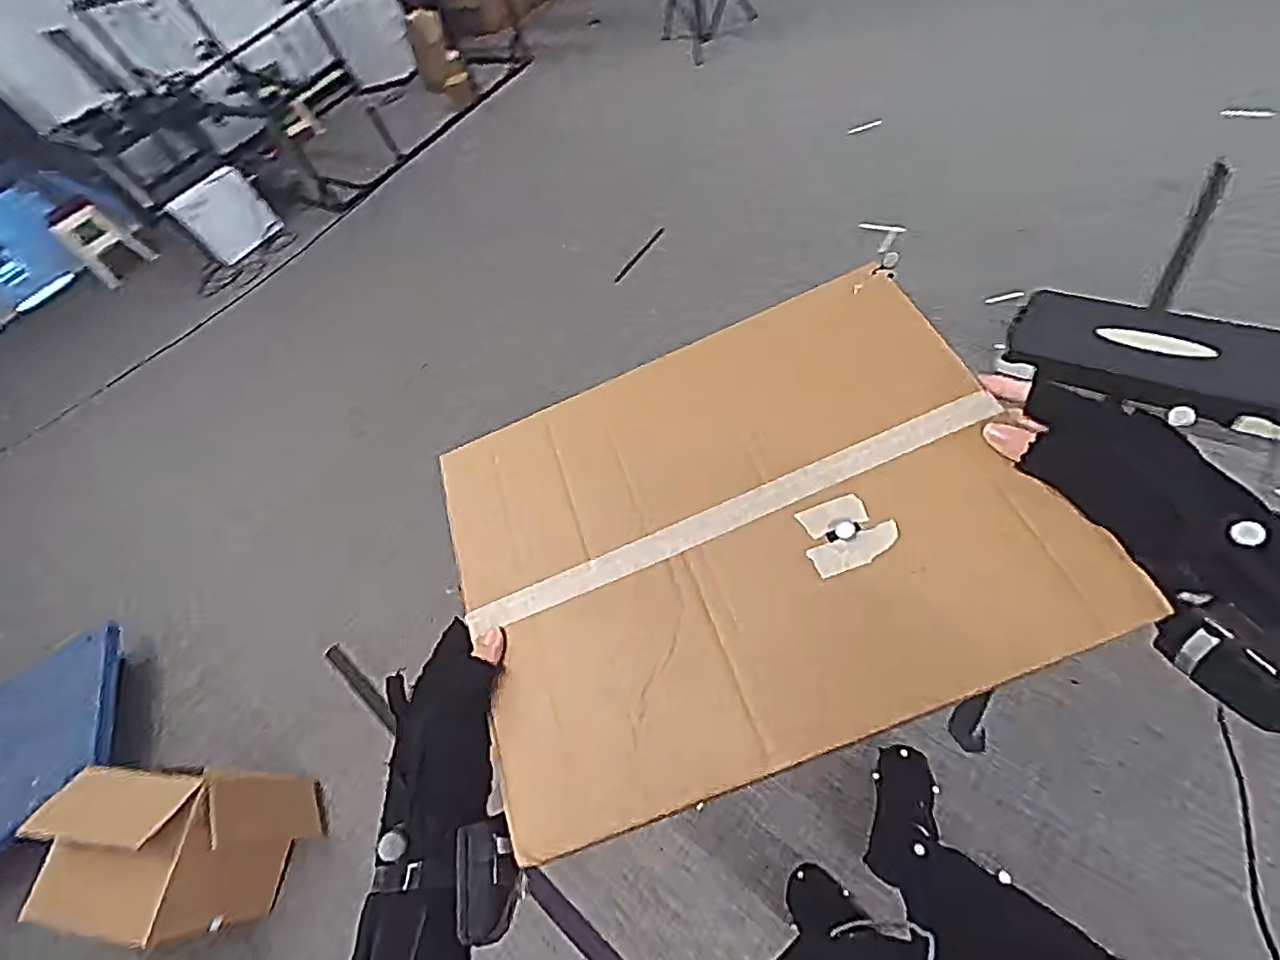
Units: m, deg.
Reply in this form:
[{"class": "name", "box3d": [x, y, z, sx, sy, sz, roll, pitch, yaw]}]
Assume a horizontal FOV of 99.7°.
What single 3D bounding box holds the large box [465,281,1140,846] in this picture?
[{"class": "large box", "box3d": [0.104, 0.093, 0.531, 0.408, 0.320, 0.320, -23, 62, 3]}]
